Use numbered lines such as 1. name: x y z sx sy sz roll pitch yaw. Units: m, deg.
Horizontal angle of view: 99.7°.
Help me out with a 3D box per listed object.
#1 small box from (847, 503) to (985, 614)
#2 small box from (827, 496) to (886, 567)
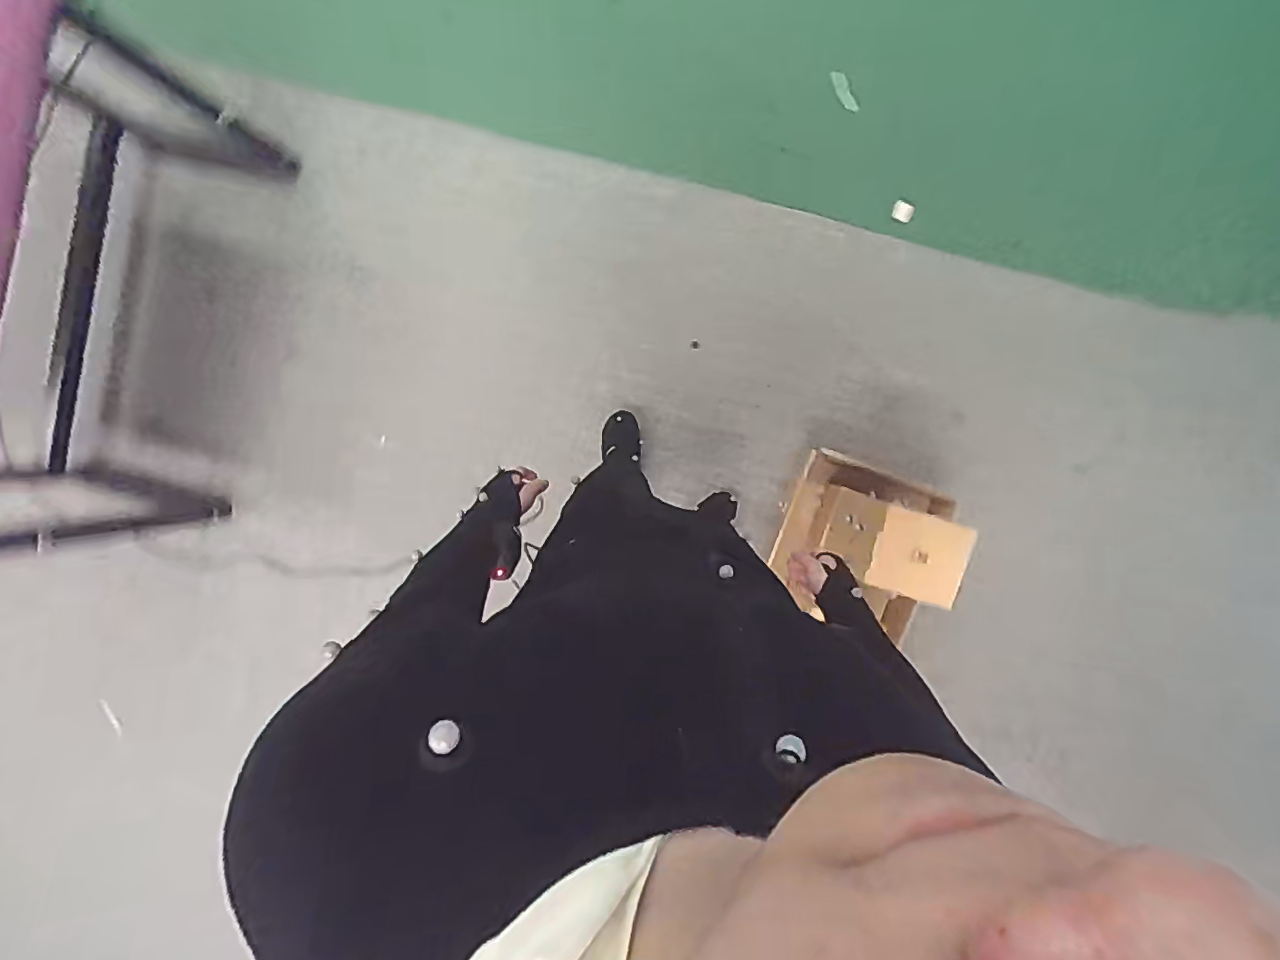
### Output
1. small box: 0.556 0.151 1.114 0.179 0.176 0.168 18 95 5
2. small box: 0.570 0.141 1.275 0.179 0.176 0.168 19 93 3
